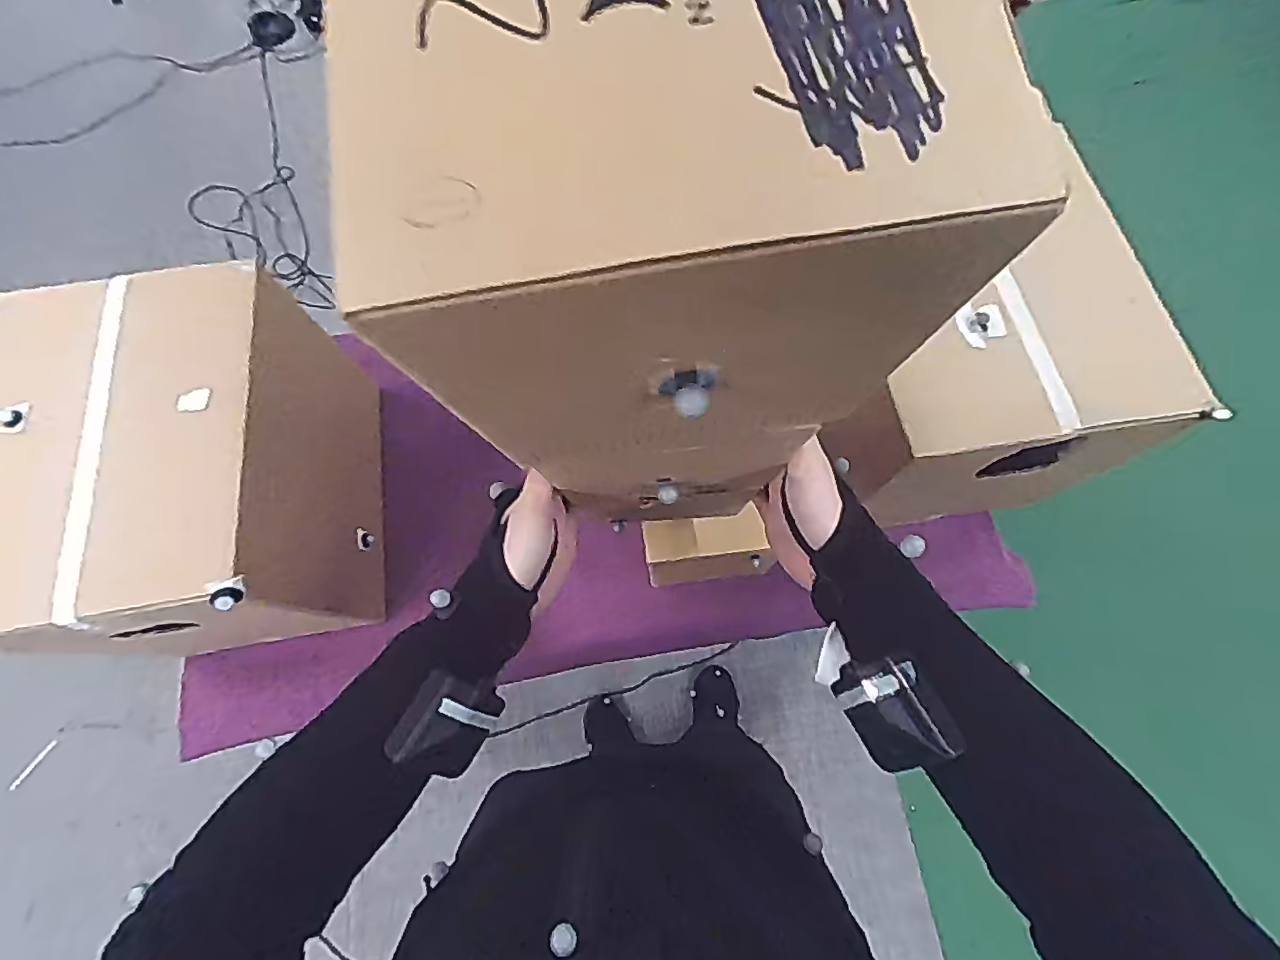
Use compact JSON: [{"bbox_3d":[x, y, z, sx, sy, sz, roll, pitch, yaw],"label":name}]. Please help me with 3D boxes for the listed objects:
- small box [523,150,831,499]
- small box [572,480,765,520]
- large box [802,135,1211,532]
[{"bbox_3d":[0.018,-0.090,0.384,0.168,0.176,0.179,-5,79,2],"label":"small box"},{"bbox_3d":[0.024,-0.055,0.545,0.168,0.176,0.179,-4,77,1],"label":"small box"},{"bbox_3d":[0.398,-0.174,0.743,0.320,0.320,0.408,-9,71,0],"label":"large box"}]
